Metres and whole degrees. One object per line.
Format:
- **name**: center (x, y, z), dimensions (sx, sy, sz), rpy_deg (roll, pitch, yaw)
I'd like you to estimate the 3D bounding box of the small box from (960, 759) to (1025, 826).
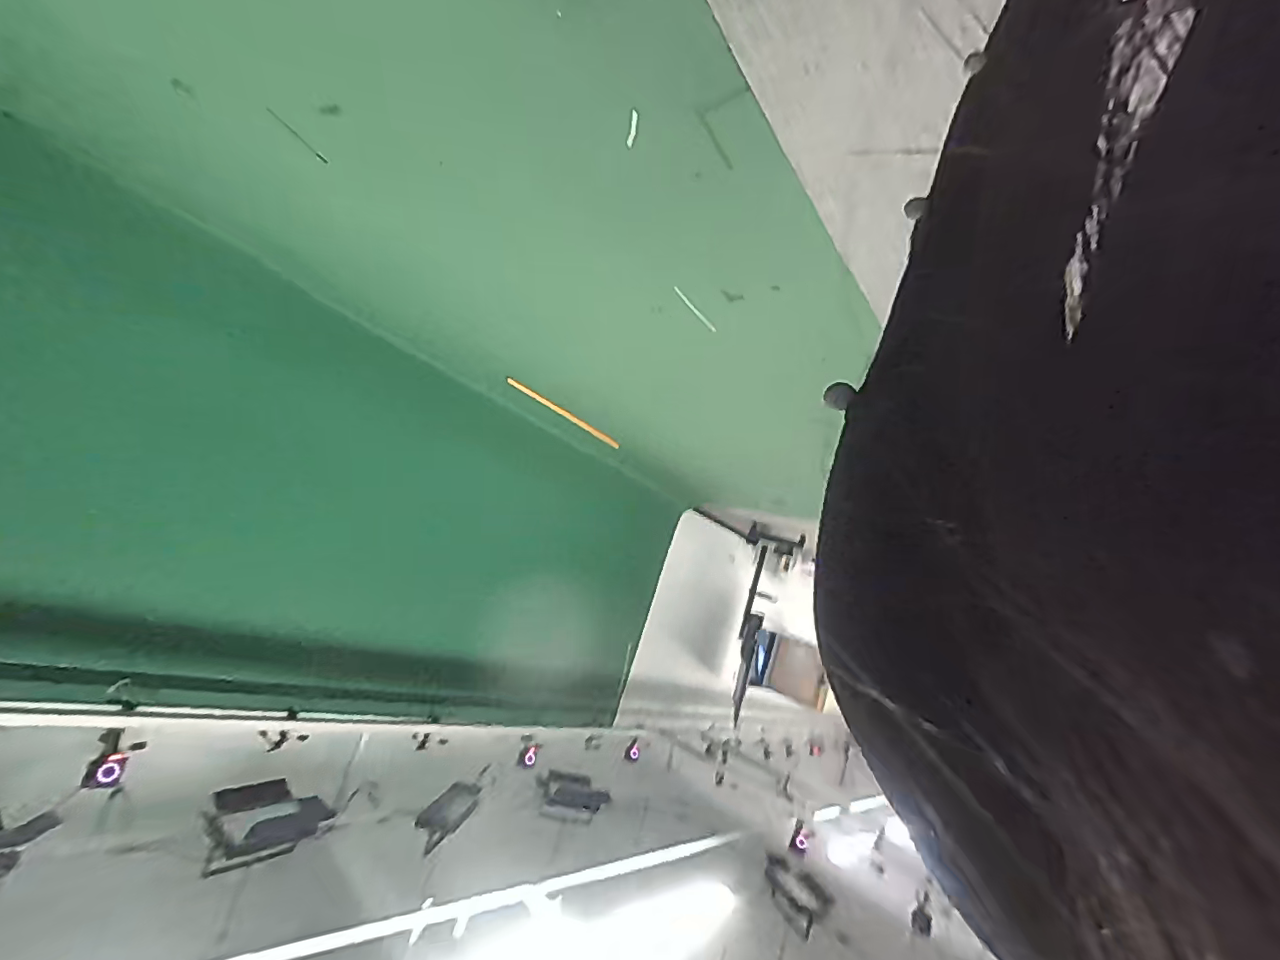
- **small box**: center (1.381, 1.214, 2.111), dimensions (0.168, 0.176, 0.179), rpy_deg (11, 165, 46)
